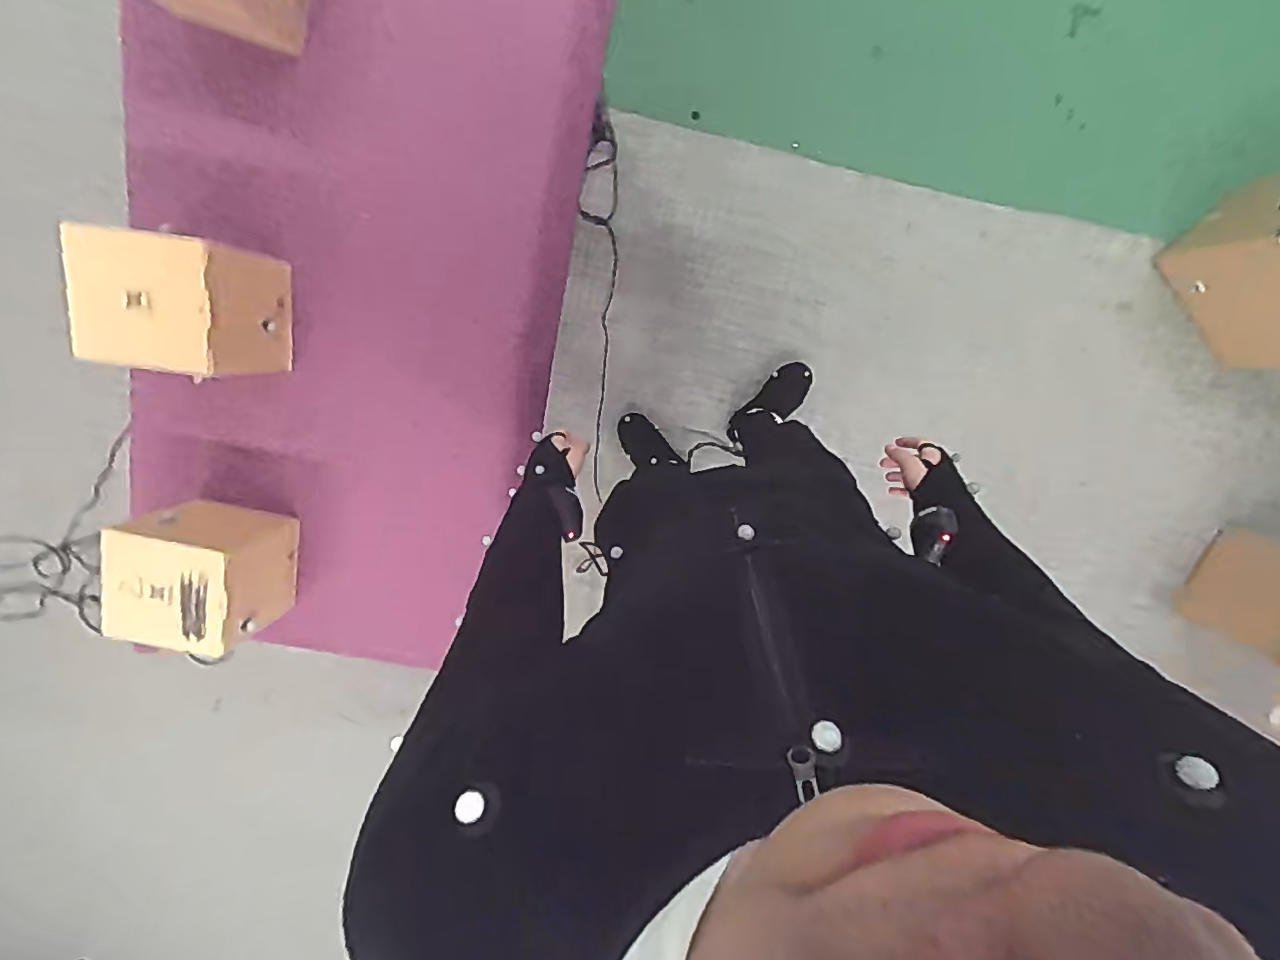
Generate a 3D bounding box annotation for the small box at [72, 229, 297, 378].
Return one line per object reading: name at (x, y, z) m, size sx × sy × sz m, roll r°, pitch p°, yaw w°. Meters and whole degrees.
small box at (-0.620, -0.236, 0.759) m, size 0.179 × 0.176 × 0.168 m, roll 6°, pitch 103°, yaw -2°

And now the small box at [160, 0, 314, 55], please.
small box at (-0.528, -0.667, 0.656) m, size 0.179 × 0.176 × 0.168 m, roll 17°, pitch 103°, yaw -4°
